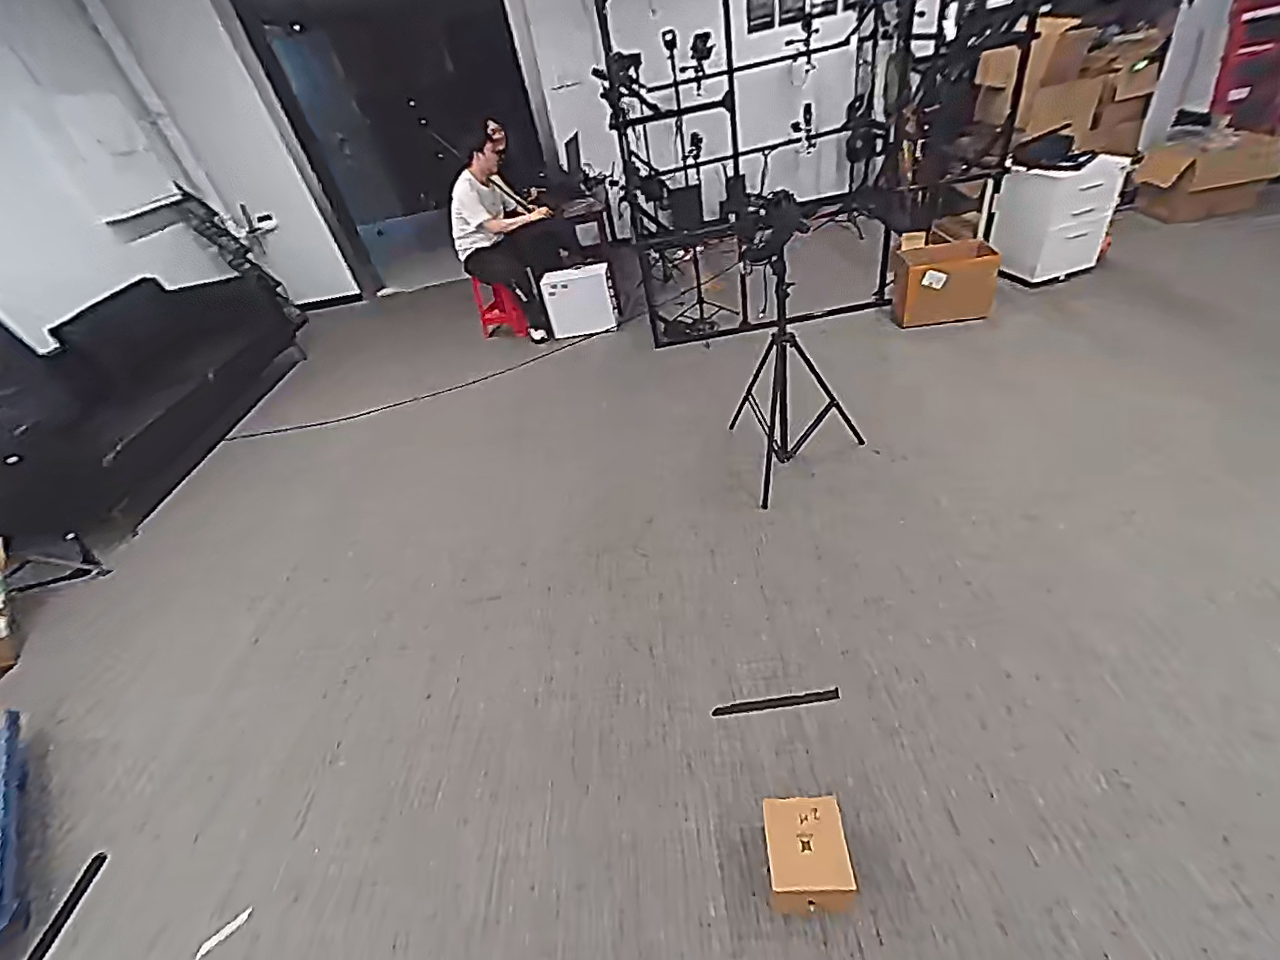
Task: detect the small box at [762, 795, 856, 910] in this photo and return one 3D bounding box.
[{"bbox_3d":[0.368,0.826,1.194,0.168,0.176,0.179,-7,38,8],"label":"small box"}]
